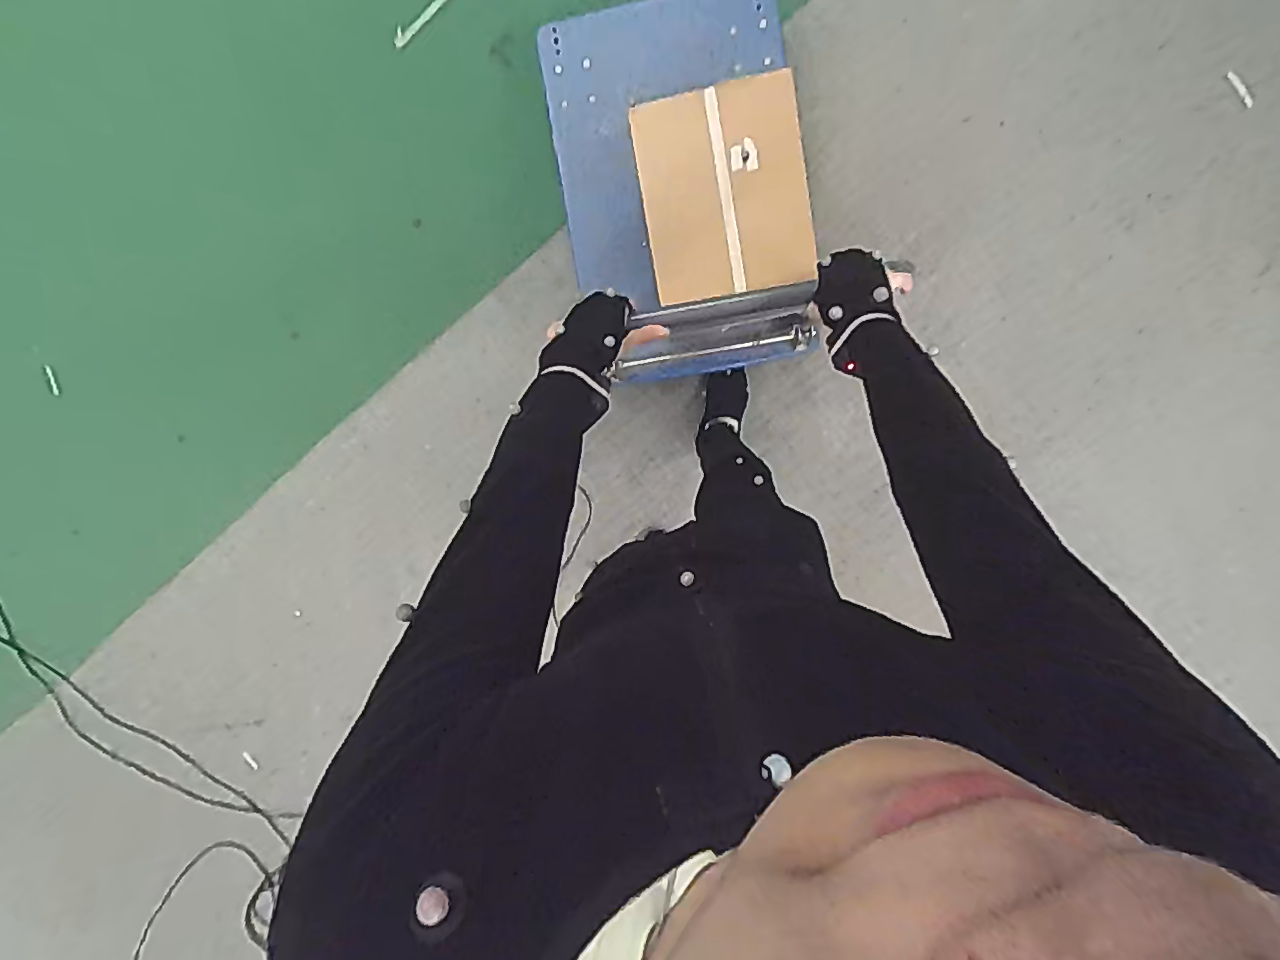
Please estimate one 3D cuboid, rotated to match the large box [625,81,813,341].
[{"bbox_3d":[0.170,-0.558,1.210,0.320,0.320,0.408,-10,96,5],"label":"large box"}]
